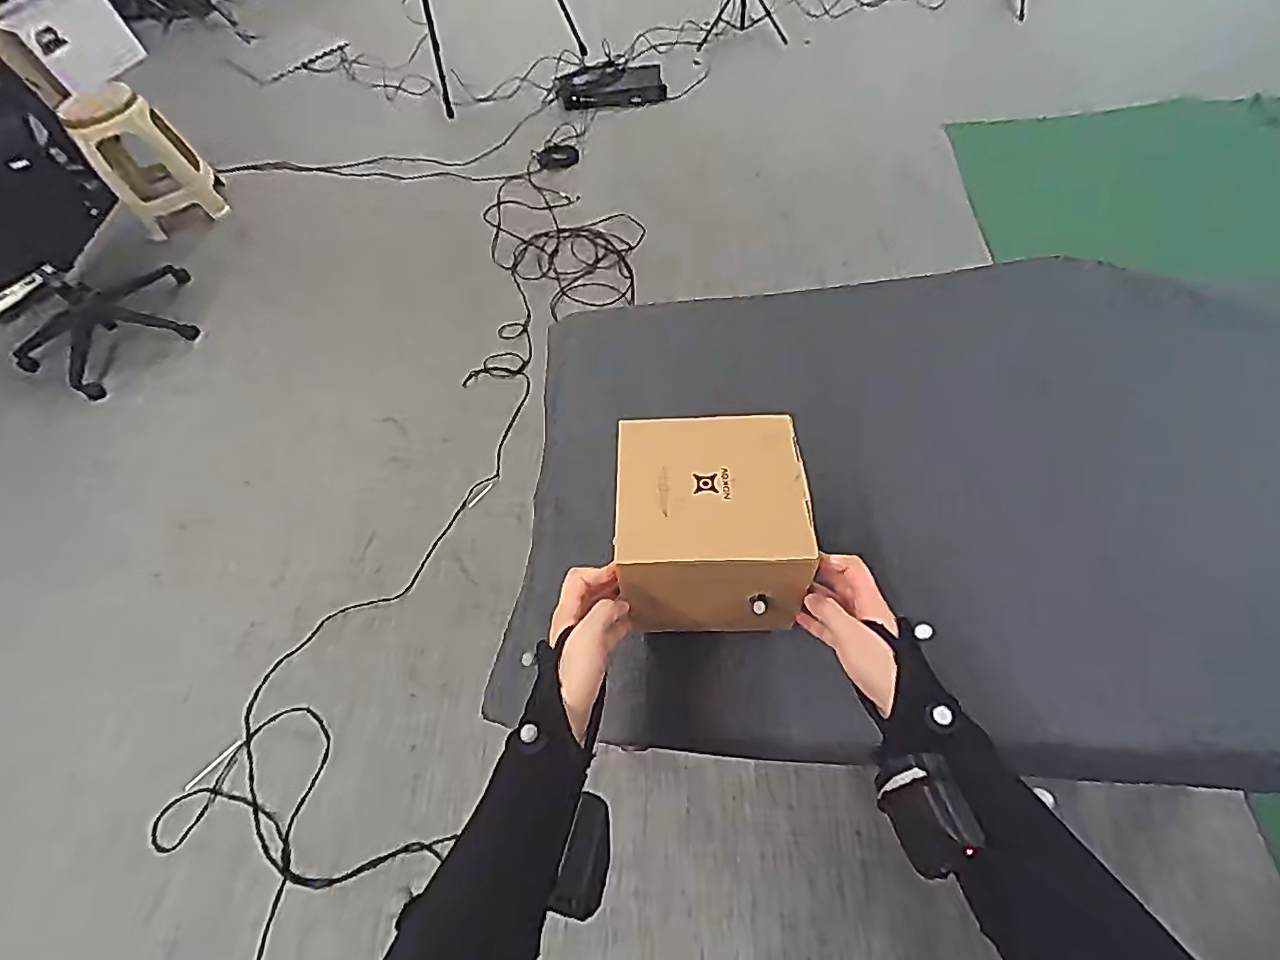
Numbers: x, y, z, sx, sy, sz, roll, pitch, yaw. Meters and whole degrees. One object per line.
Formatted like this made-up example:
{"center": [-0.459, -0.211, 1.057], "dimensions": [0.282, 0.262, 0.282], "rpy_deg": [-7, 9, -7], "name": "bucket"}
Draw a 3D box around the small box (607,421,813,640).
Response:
{"center": [0.065, 0.058, 0.565], "dimensions": [0.179, 0.176, 0.168], "rpy_deg": [-4, 53, 5], "name": "small box"}
